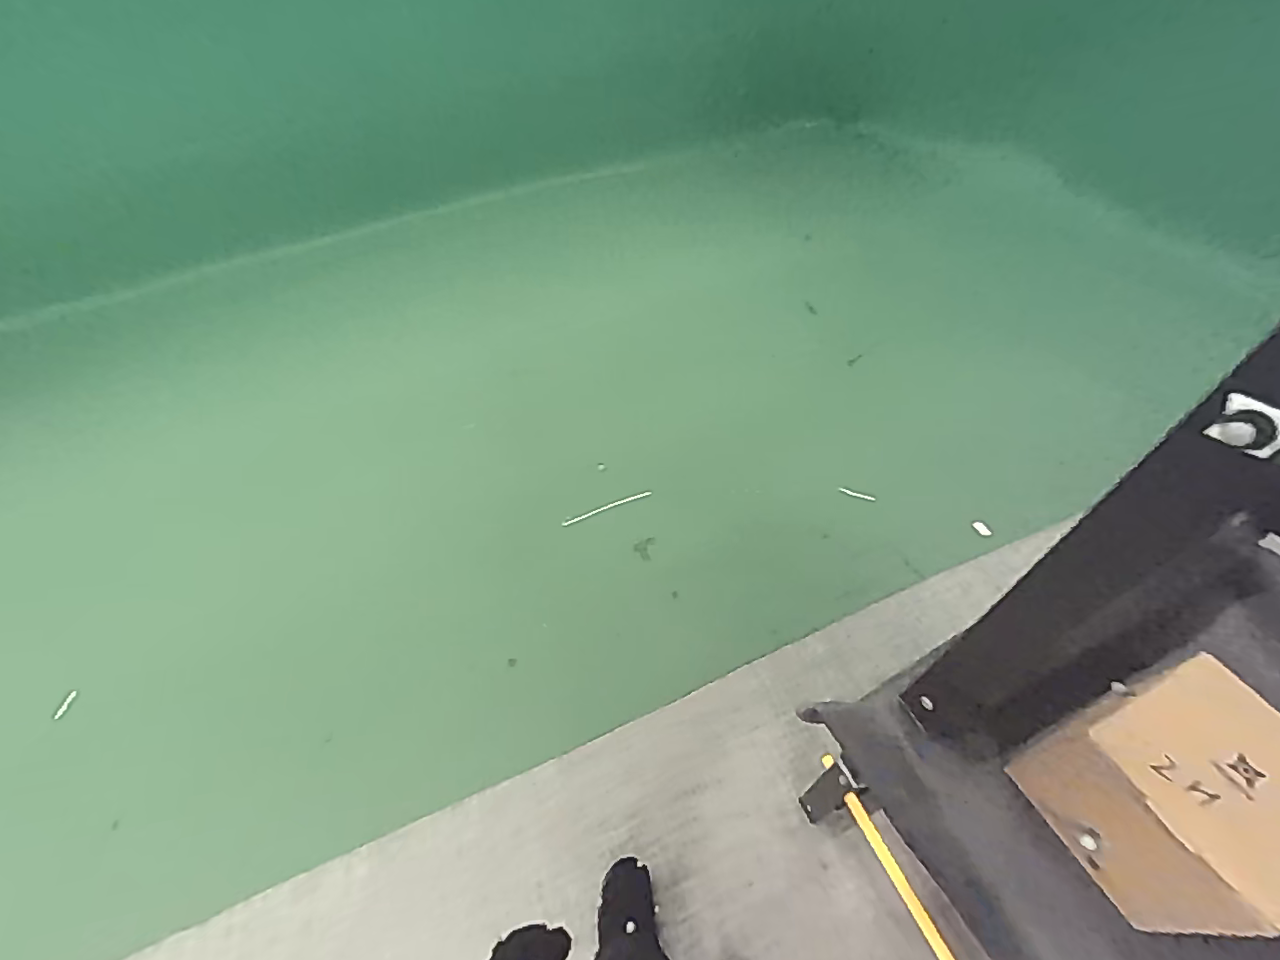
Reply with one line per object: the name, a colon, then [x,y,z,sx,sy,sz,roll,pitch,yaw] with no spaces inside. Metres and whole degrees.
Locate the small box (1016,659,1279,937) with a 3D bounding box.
small box: [0.536,0.315,0.544,0.179,0.176,0.168,-22,53,-13]
